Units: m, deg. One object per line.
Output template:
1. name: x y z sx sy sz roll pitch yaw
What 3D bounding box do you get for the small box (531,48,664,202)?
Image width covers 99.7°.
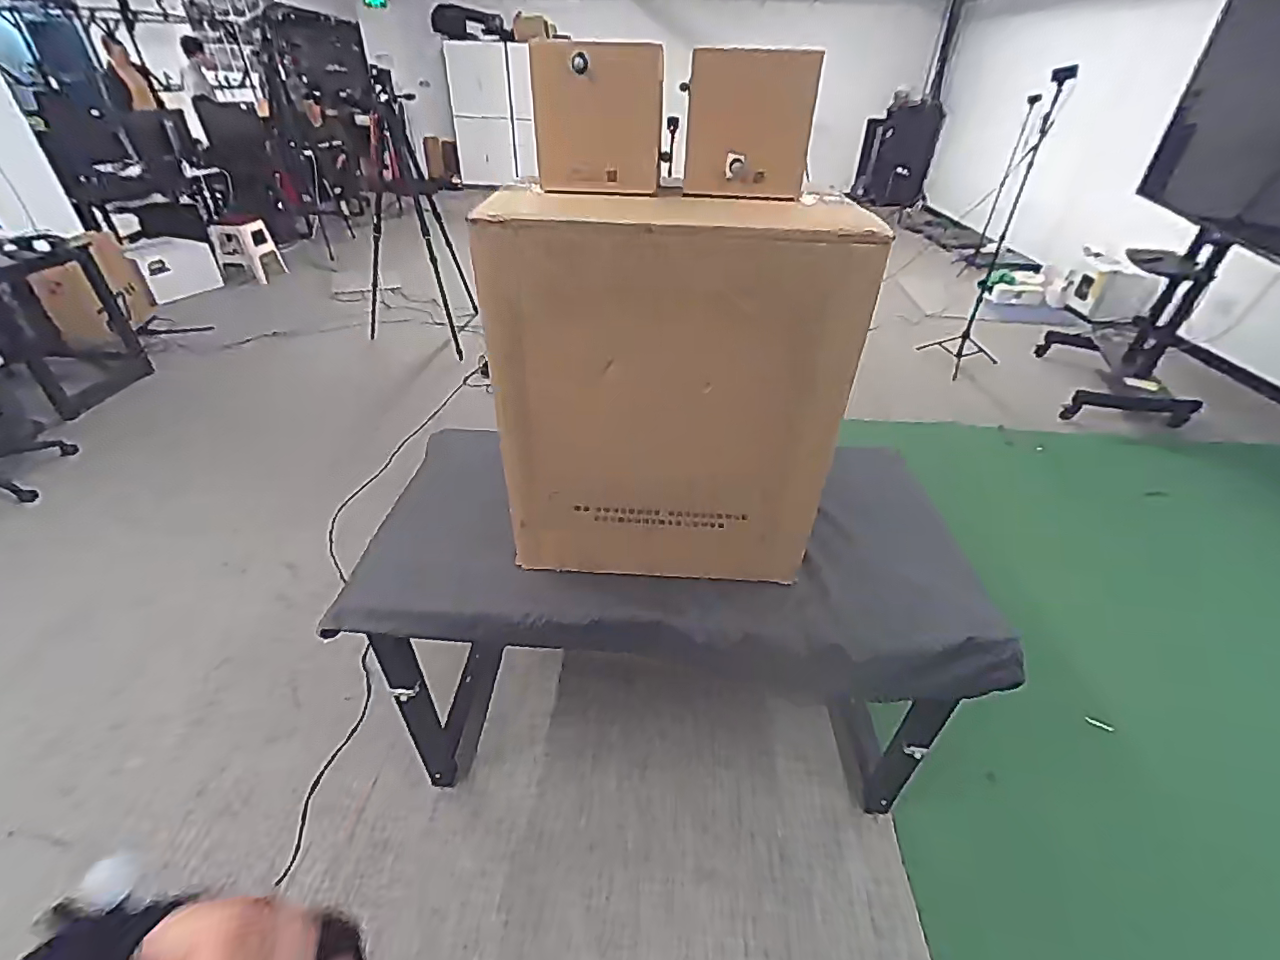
1. small box: -0.052 -0.513 0.789 0.168 0.176 0.179 2 34 3
